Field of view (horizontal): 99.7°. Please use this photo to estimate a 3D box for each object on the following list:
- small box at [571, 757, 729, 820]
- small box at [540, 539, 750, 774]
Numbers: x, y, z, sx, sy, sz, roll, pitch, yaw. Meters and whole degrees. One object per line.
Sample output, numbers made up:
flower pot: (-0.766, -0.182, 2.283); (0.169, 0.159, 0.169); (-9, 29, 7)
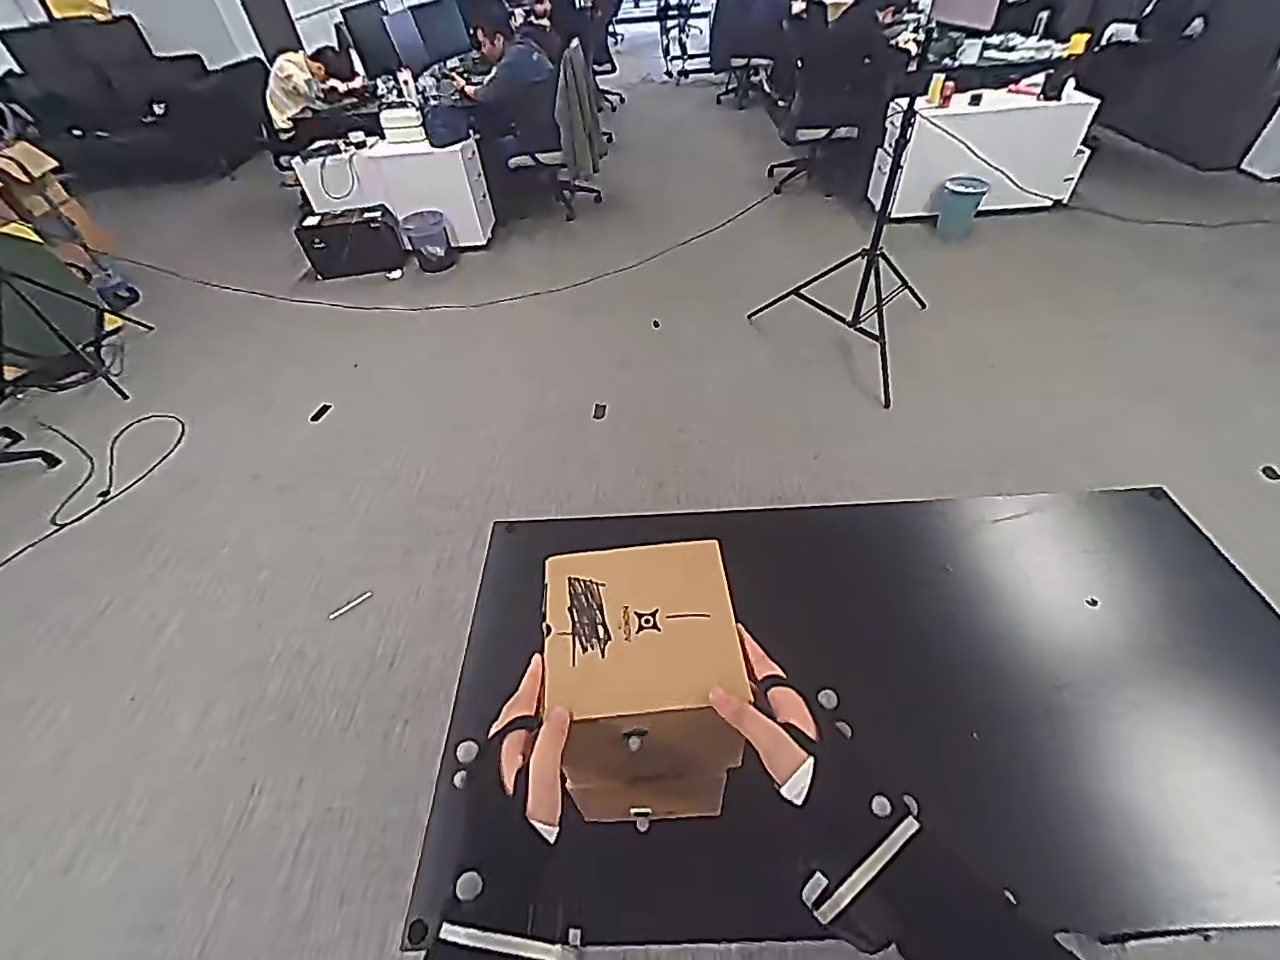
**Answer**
small box: (0.011, 0.296, 0.667); (0.168, 0.176, 0.179); (-6, 47, 1)
small box: (0.005, 0.182, 0.548); (0.179, 0.176, 0.168); (-6, 46, 0)
